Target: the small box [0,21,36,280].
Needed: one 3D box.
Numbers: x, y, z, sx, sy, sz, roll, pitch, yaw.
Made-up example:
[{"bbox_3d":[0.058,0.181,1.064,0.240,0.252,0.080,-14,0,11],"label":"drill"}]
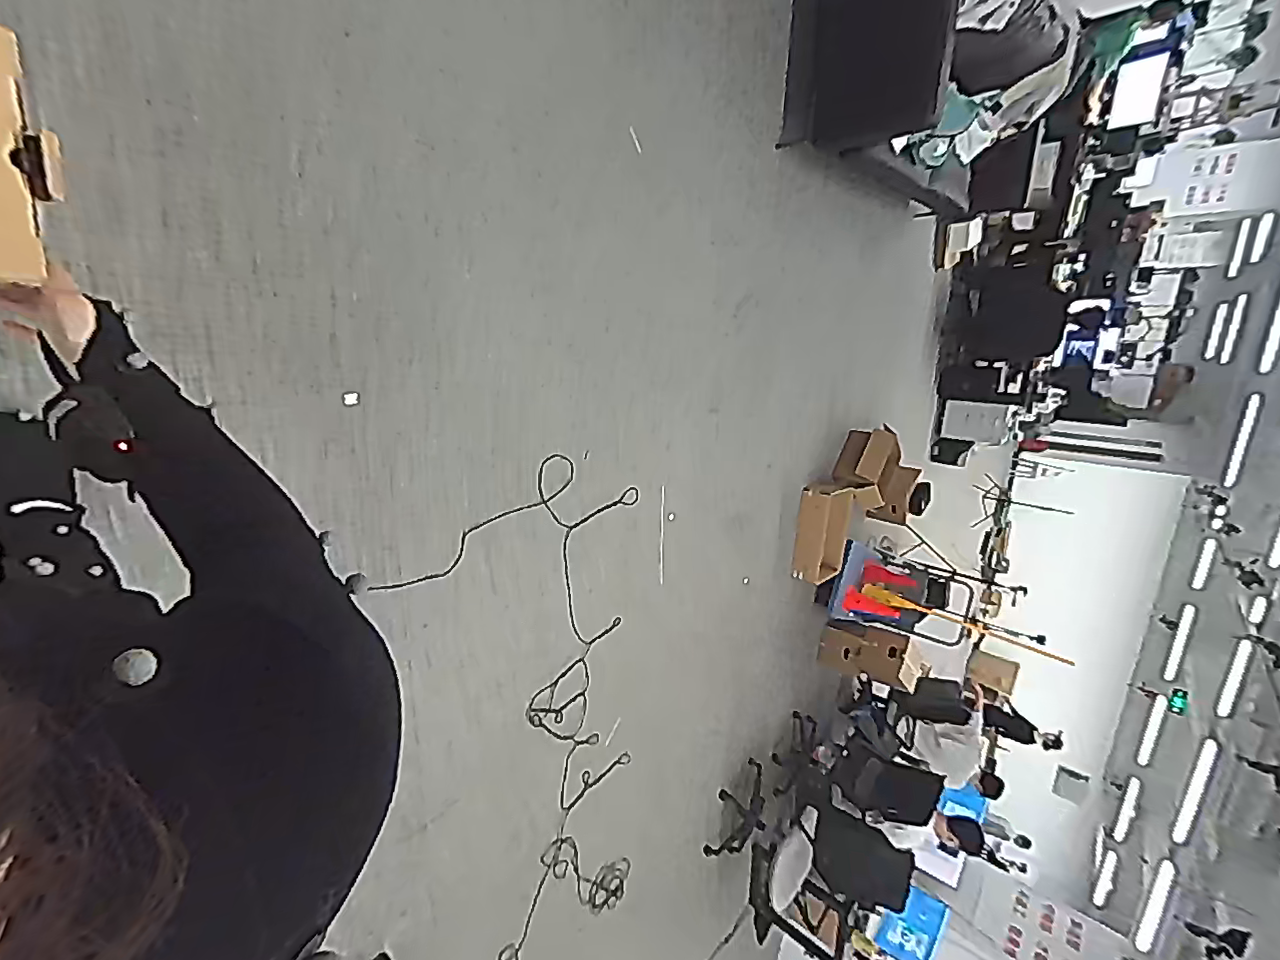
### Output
[{"bbox_3d":[-0.542,-0.229,0.353,0.179,0.176,0.168,-10,107,-53],"label":"small box"}]
